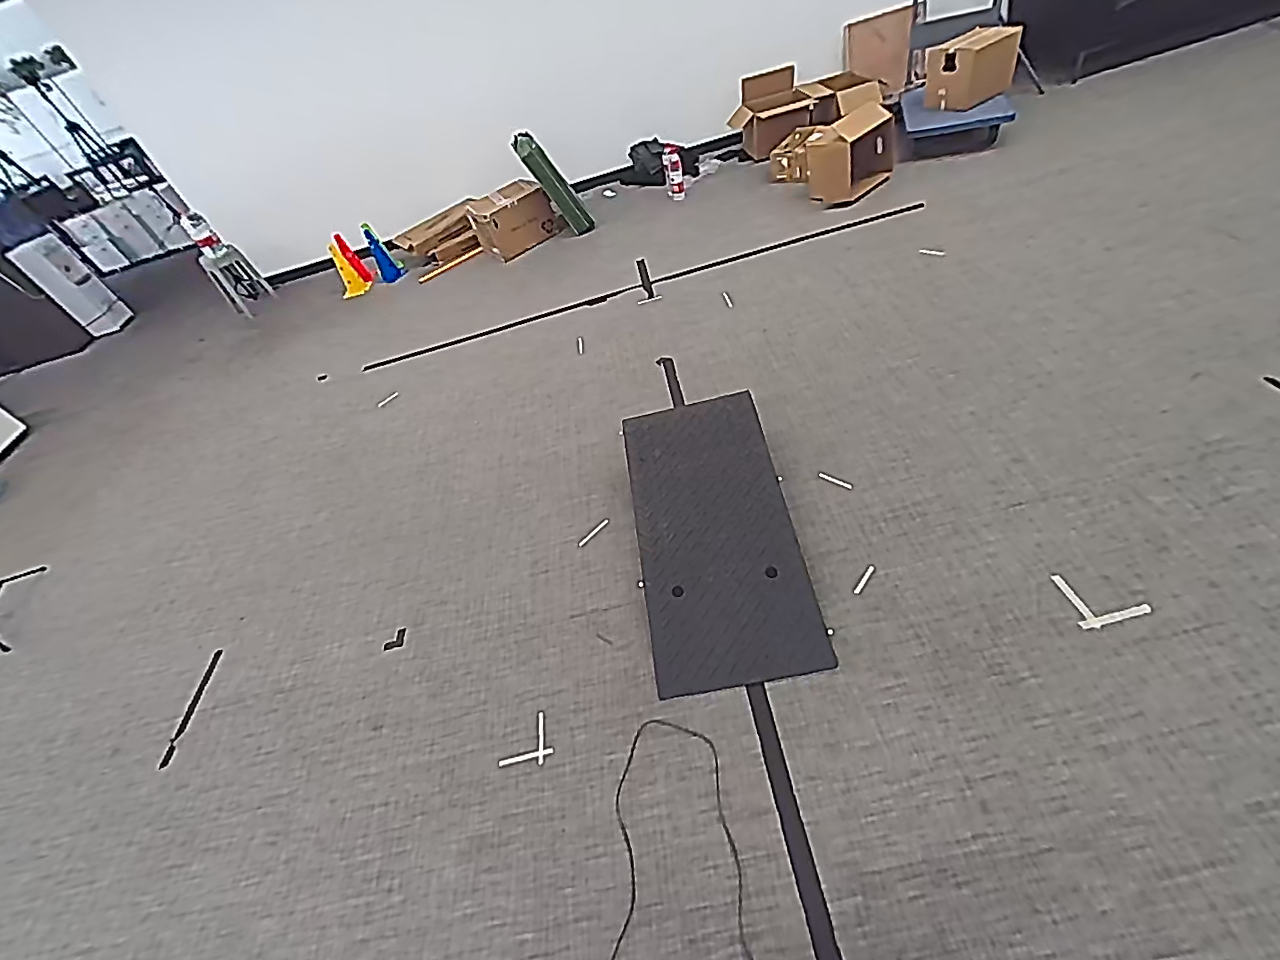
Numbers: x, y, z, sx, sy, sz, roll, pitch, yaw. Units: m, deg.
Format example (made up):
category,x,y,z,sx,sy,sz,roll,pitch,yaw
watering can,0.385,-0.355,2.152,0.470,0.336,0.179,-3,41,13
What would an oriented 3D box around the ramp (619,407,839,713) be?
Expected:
category,x,y,z,sx,sy,sz,roll,pitch,yaw
ramp,0.231,0.188,1.749,0.509,0.206,0.991,-15,44,4
